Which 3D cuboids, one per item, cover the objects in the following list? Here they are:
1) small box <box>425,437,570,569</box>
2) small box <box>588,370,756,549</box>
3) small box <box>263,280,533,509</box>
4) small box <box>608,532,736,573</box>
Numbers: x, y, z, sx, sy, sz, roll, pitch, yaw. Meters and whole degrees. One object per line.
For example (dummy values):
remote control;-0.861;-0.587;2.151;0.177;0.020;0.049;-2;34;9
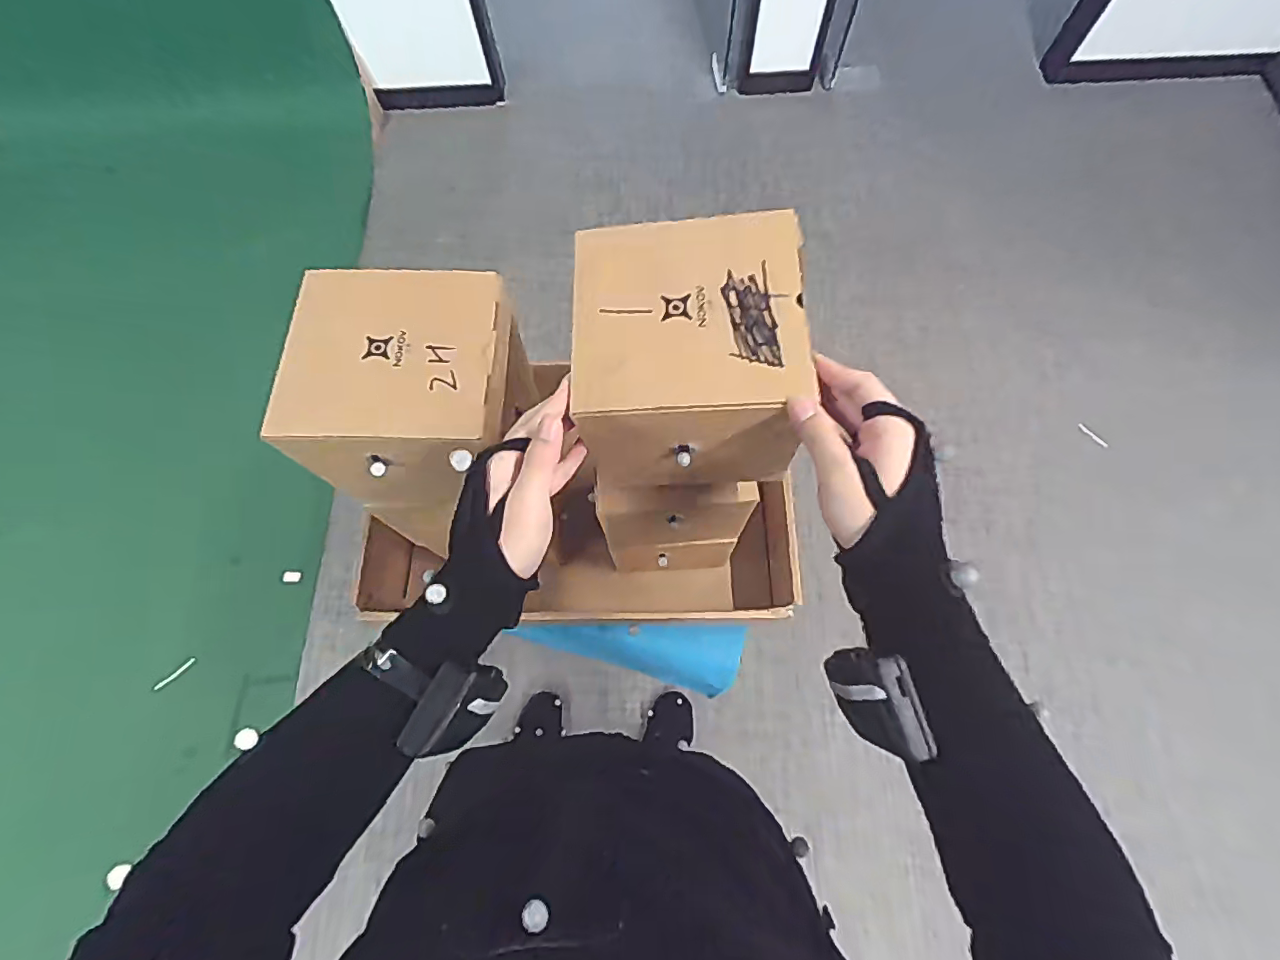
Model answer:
small box;-0.210;0.043;0.843;0.179;0.176;0.168;-1;69;0
small box;0.037;-0.016;0.676;0.179;0.176;0.168;-6;69;1
small box;-0.214;-0.074;0.535;0.179;0.176;0.168;1;69;0
small box;0.047;0.043;0.830;0.179;0.176;0.168;-5;70;3
